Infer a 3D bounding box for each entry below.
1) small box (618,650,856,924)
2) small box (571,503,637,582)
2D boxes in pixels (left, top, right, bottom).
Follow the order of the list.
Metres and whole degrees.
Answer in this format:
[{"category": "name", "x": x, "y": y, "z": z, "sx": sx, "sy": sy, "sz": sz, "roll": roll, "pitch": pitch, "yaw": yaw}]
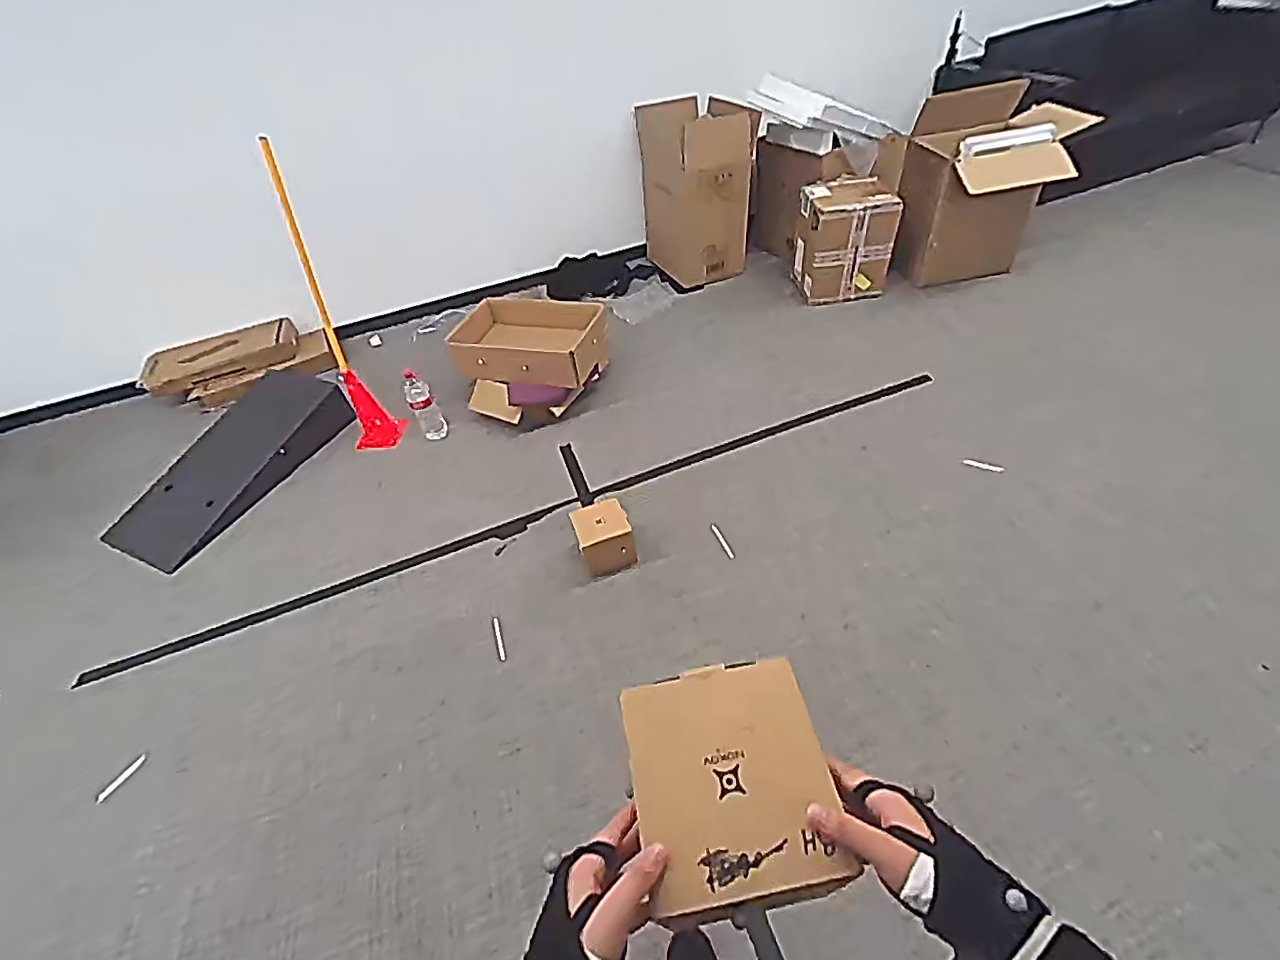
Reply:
[{"category": "small box", "x": 0.080, "y": 0.295, "z": 0.521, "sx": 0.168, "sy": 0.176, "sz": 0.179, "roll": -12, "pitch": 46, "yaw": -2}, {"category": "small box", "x": -0.116, "y": 0.214, "z": 1.838, "sx": 0.179, "sy": 0.176, "sz": 0.168, "roll": -20, "pitch": 45, "yaw": -10}]
